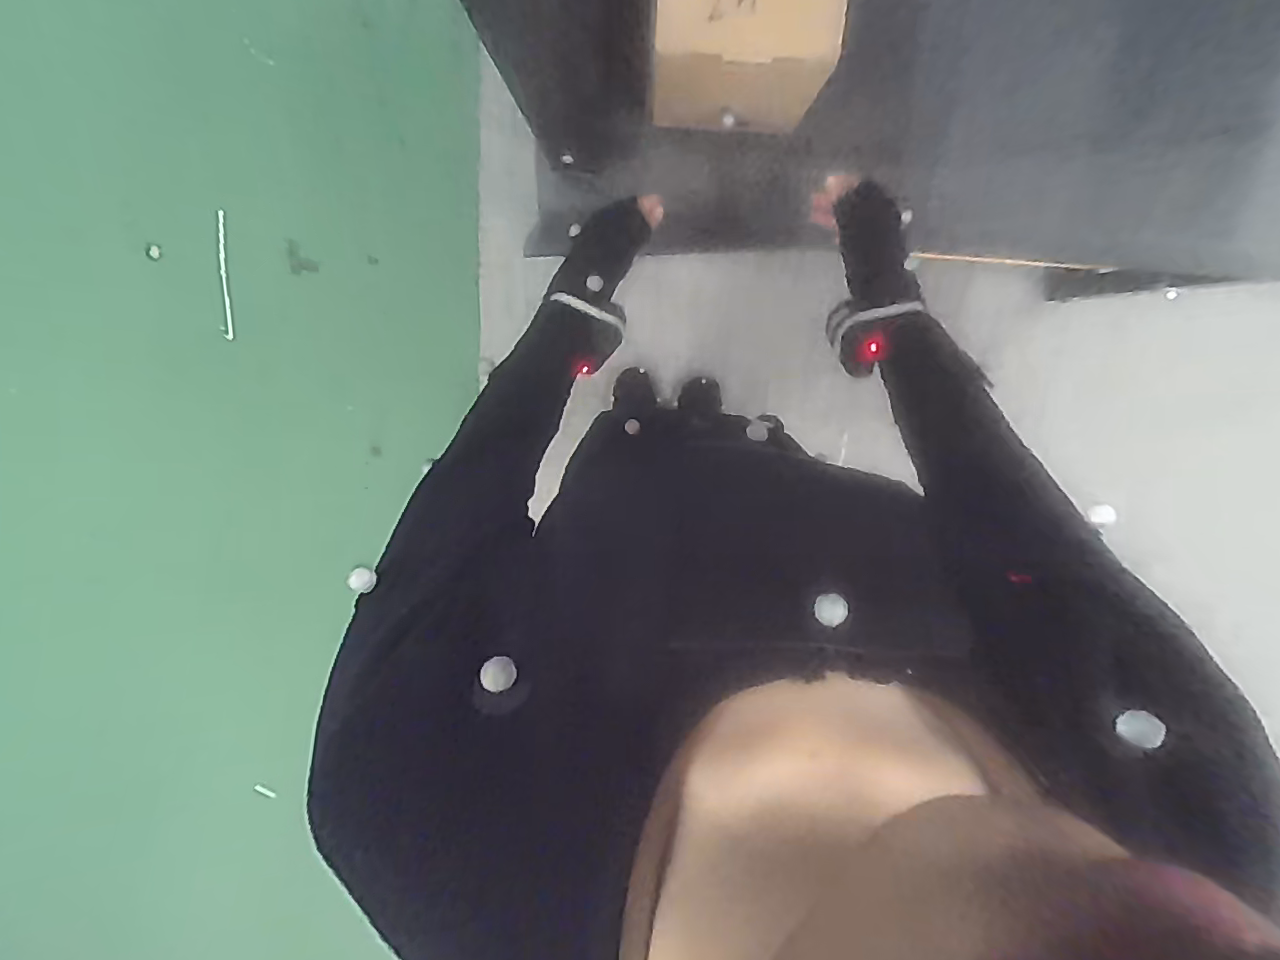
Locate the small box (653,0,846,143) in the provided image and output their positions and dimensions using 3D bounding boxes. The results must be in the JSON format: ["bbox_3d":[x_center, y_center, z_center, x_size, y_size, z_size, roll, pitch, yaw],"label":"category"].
[{"bbox_3d":[0.101,-0.471,0.542,0.168,0.176,0.179,3,103,1],"label":"small box"}]
